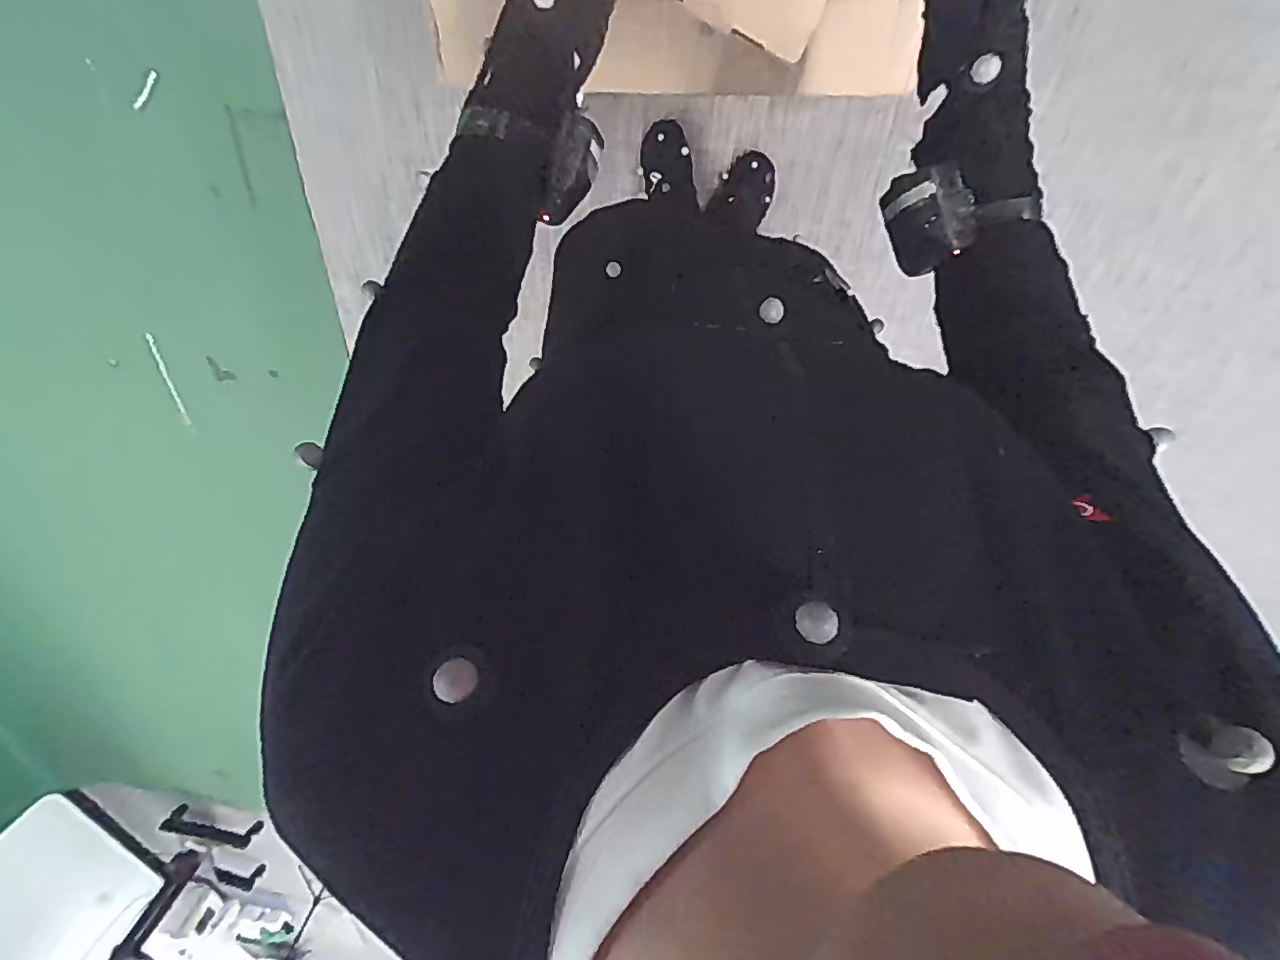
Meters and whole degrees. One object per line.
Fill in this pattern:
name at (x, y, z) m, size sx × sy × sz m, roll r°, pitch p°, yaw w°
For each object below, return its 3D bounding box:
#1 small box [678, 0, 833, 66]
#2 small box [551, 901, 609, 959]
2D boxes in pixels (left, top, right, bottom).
small box at (0.107, -0.485, 0.442) m, size 0.168 × 0.176 × 0.179 m, roll 23°, pitch 132°, yaw -9°
small box at (-0.203, 1.580, 1.851) m, size 0.168 × 0.176 × 0.179 m, roll 6°, pitch 127°, yaw 6°
